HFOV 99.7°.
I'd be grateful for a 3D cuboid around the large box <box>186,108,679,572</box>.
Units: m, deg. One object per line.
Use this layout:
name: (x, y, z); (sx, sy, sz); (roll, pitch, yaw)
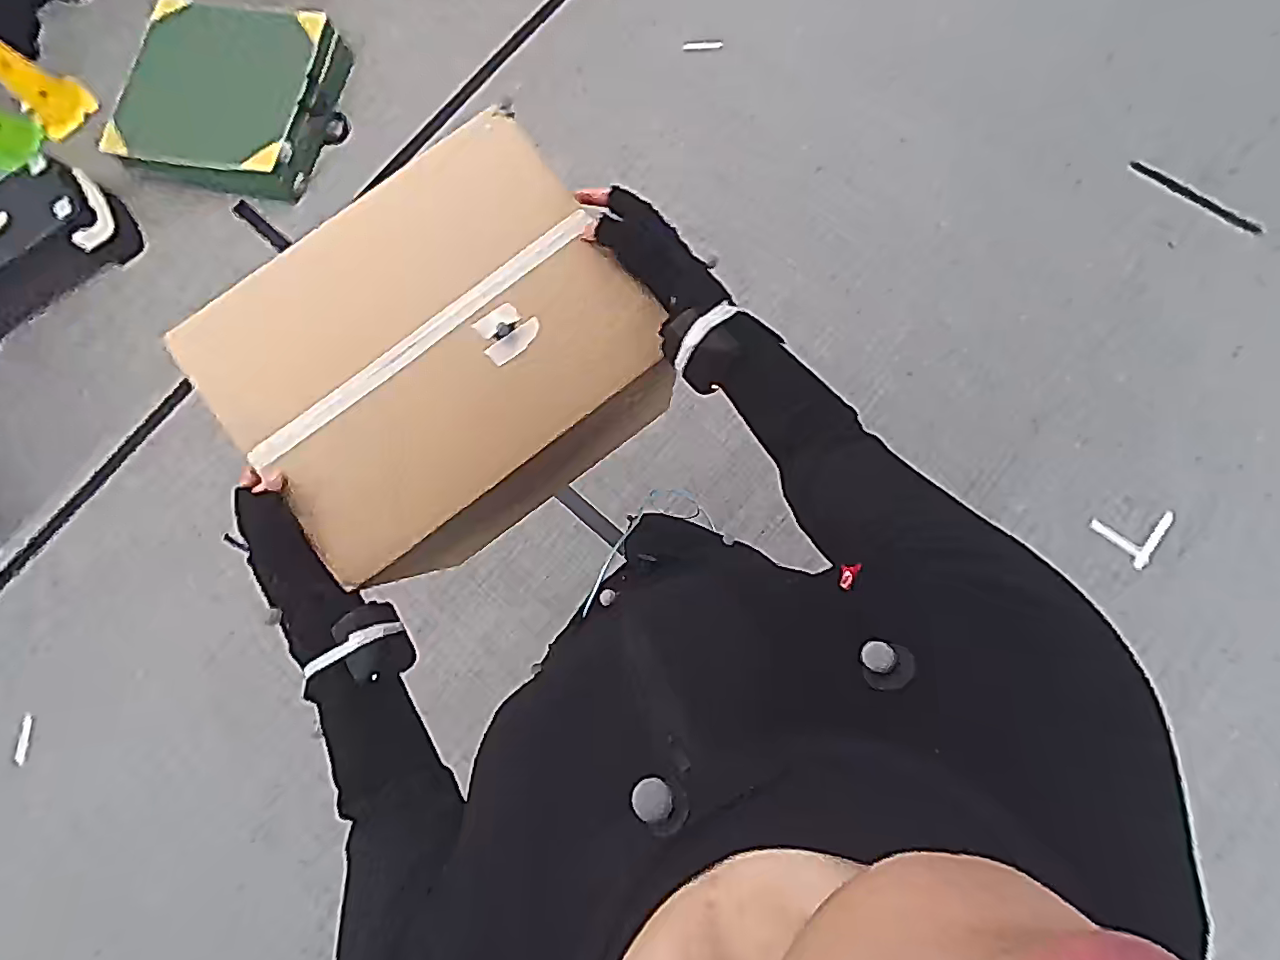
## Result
large box: (-0.209, -0.134, 0.686); (0.408, 0.320, 0.320); (-37, 88, -4)
